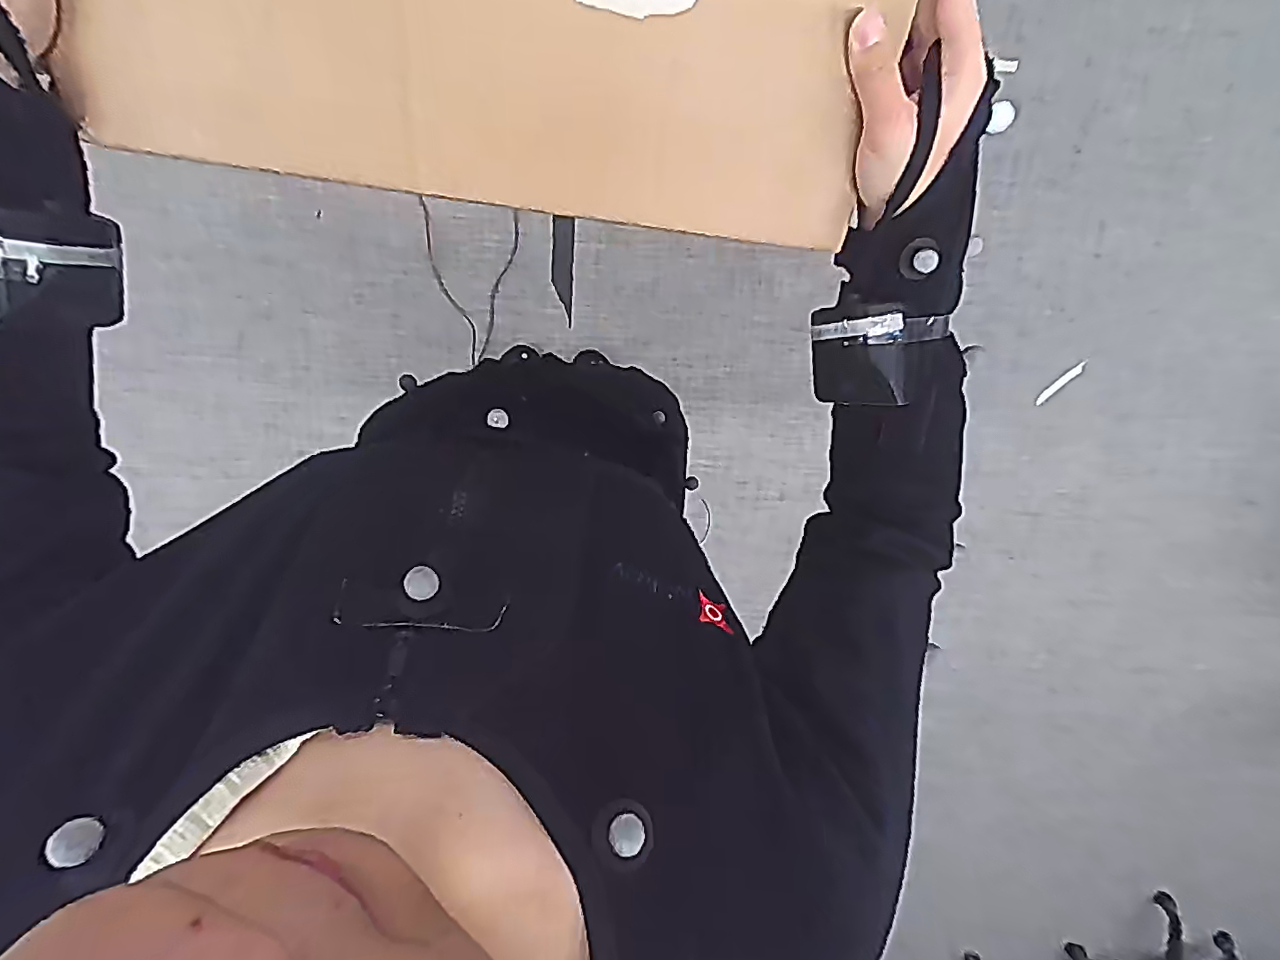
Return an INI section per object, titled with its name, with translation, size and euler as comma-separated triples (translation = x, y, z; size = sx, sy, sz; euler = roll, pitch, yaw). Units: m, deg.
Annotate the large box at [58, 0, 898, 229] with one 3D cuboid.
[large box]
translation = -0.072, -0.369, 0.355
size = 0.408, 0.320, 0.320
euler = 4, 120, -8
